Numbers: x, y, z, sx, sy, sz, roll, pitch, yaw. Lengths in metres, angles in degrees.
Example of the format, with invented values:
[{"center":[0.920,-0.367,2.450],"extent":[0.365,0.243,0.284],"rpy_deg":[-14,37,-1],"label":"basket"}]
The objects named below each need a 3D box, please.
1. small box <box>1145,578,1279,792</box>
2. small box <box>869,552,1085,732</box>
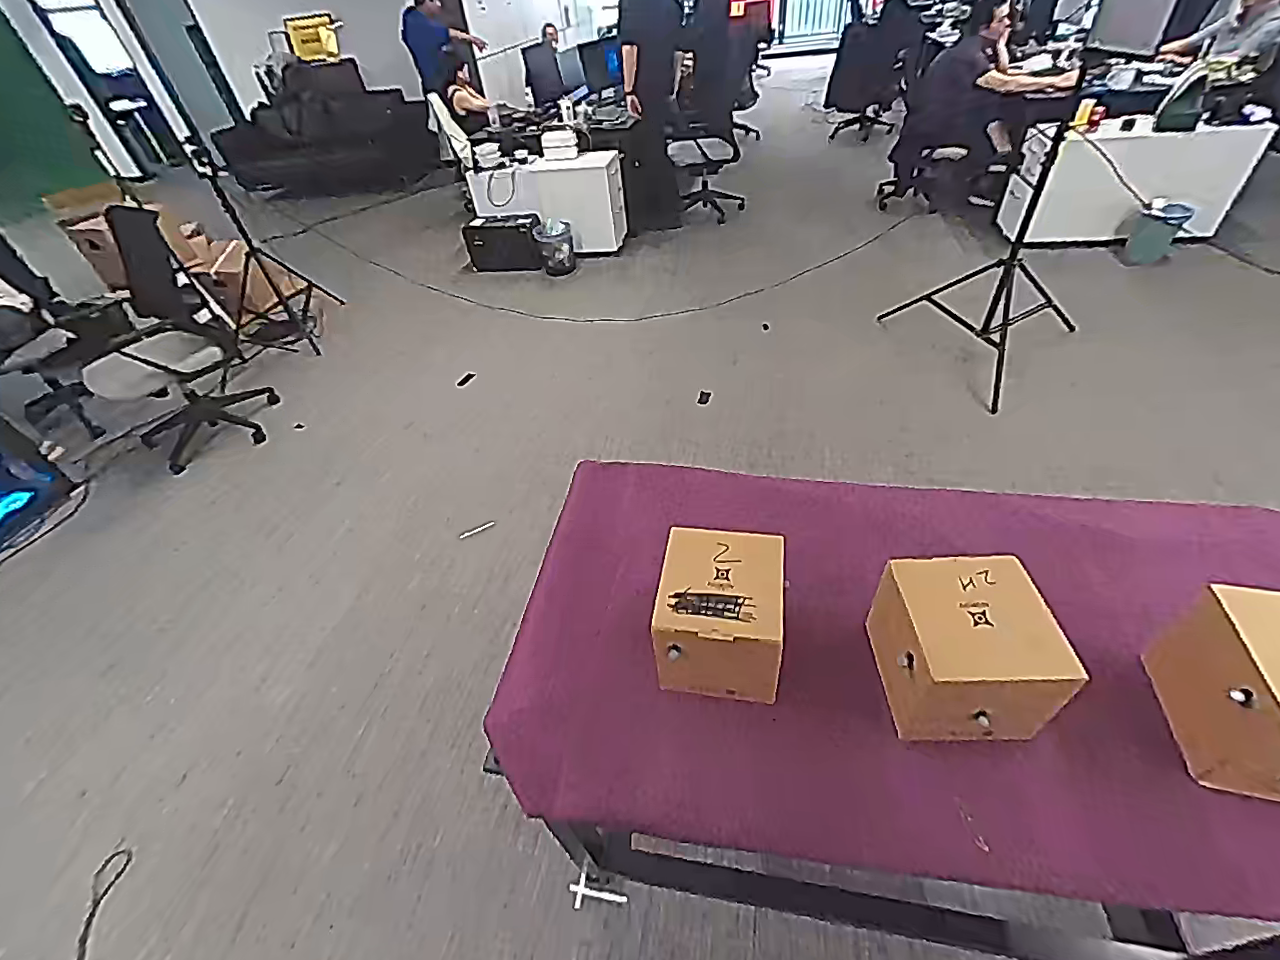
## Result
[{"center":[0.755,0.244,0.633],"extent":[0.168,0.176,0.179],"rpy_deg":[6,43,15],"label":"small box"},{"center":[0.420,0.217,0.713],"extent":[0.168,0.176,0.179],"rpy_deg":[-3,43,5],"label":"small box"}]
